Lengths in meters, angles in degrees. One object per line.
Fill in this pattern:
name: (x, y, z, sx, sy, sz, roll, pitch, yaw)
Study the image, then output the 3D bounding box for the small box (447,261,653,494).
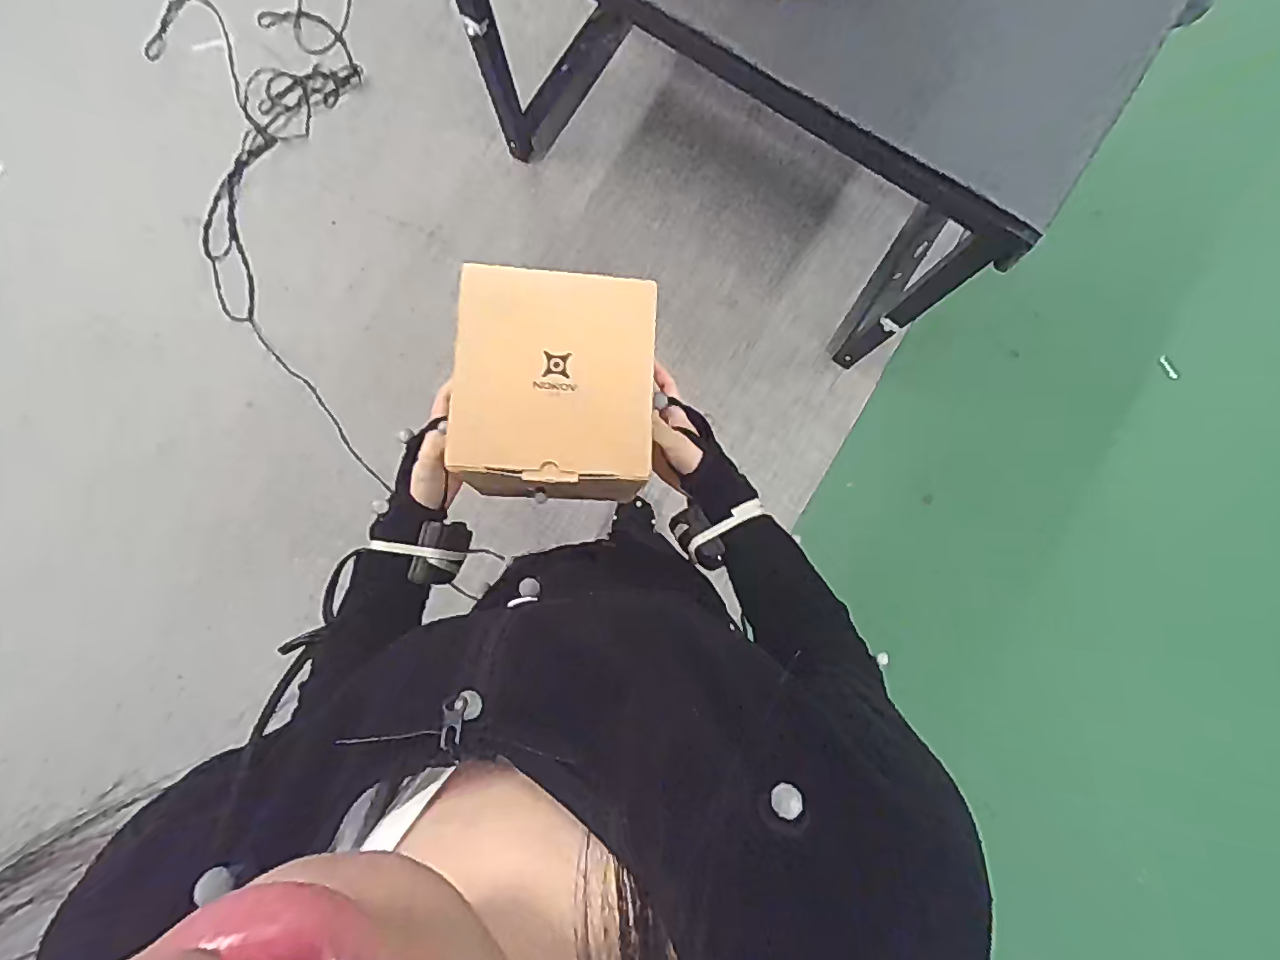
small box: (-0.083, -0.084, 0.529, 0.168, 0.176, 0.179, 2, 83, -8)
